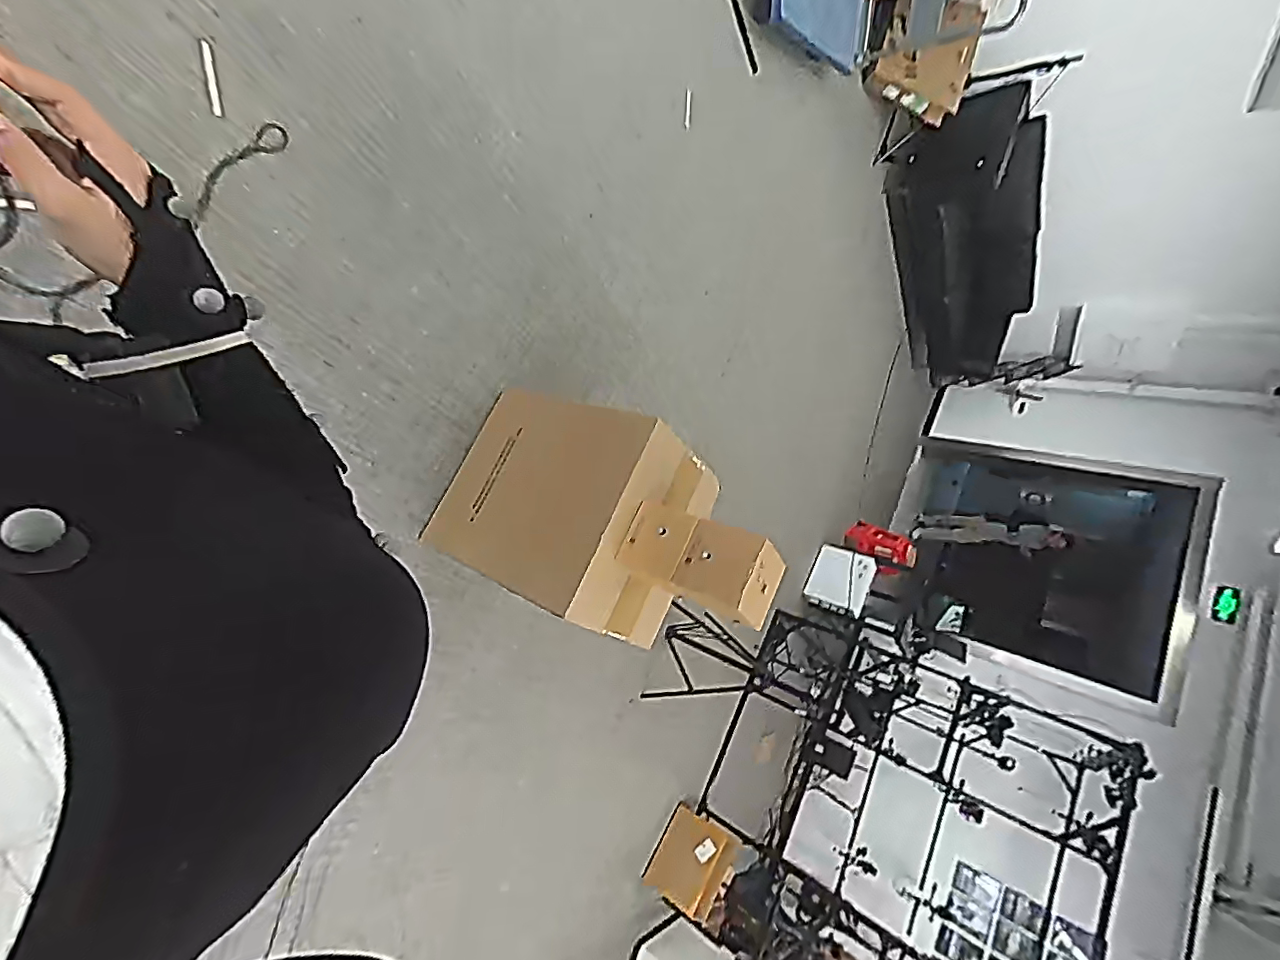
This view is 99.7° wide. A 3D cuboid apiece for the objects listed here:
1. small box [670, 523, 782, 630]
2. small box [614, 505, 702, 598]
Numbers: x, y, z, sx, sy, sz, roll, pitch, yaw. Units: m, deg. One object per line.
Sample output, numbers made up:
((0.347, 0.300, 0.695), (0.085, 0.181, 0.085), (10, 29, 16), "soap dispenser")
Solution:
((0.197, 0.214, 1.225), (0.179, 0.176, 0.168), (48, 62, -49), "small box")
((0.065, 0.174, 1.317), (0.179, 0.176, 0.168), (45, 65, -50), "small box")
